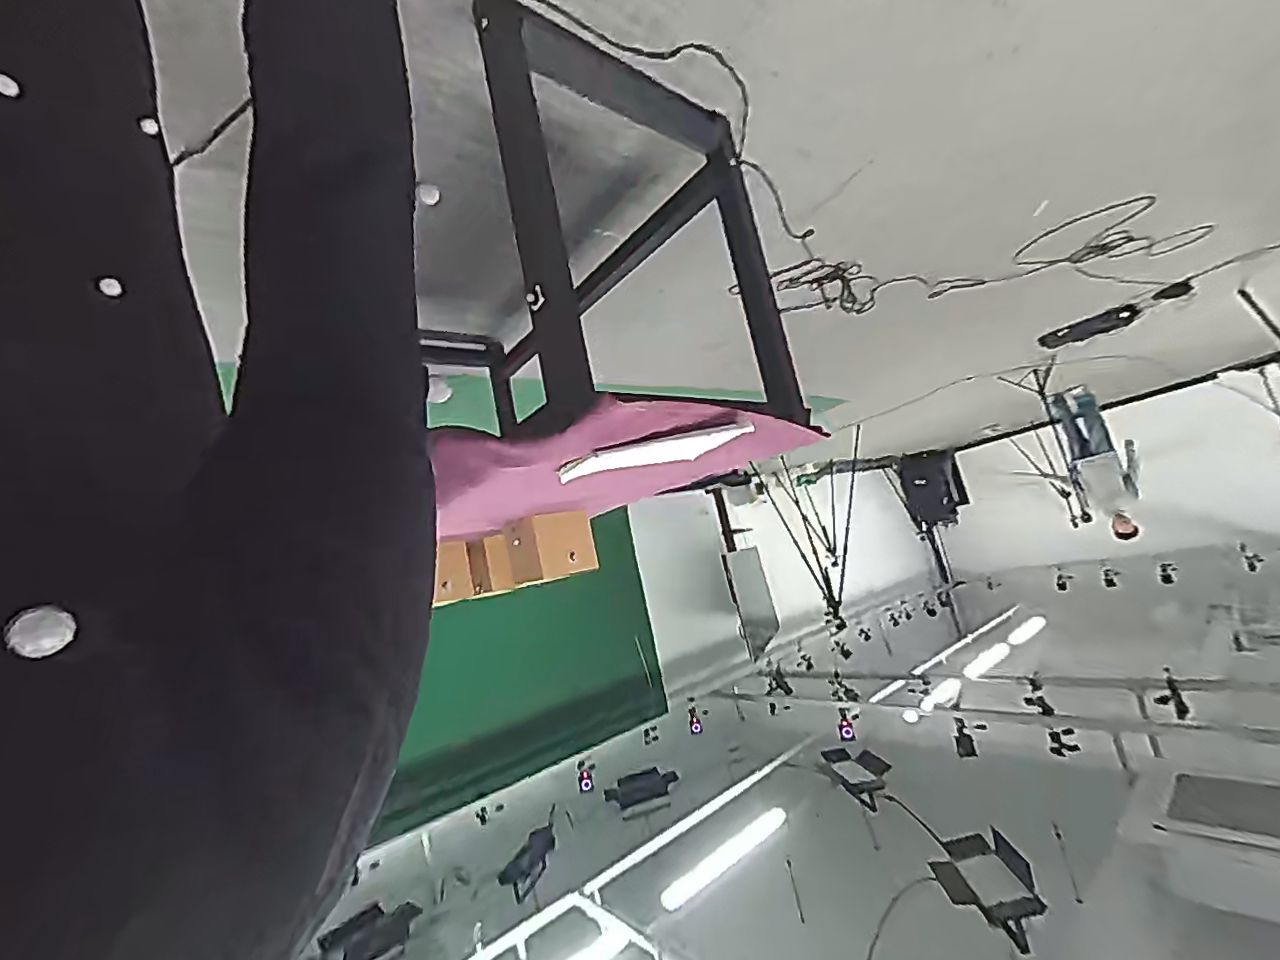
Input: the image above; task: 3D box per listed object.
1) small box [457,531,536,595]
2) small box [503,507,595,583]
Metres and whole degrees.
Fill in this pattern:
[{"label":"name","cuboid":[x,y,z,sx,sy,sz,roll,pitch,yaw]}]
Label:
[{"label":"small box","cuboid":[-0.447,0.251,1.689,0.168,0.176,0.179,-21,168,42]},{"label":"small box","cuboid":[-0.249,0.173,1.459,0.179,0.176,0.168,-4,168,-42]}]
